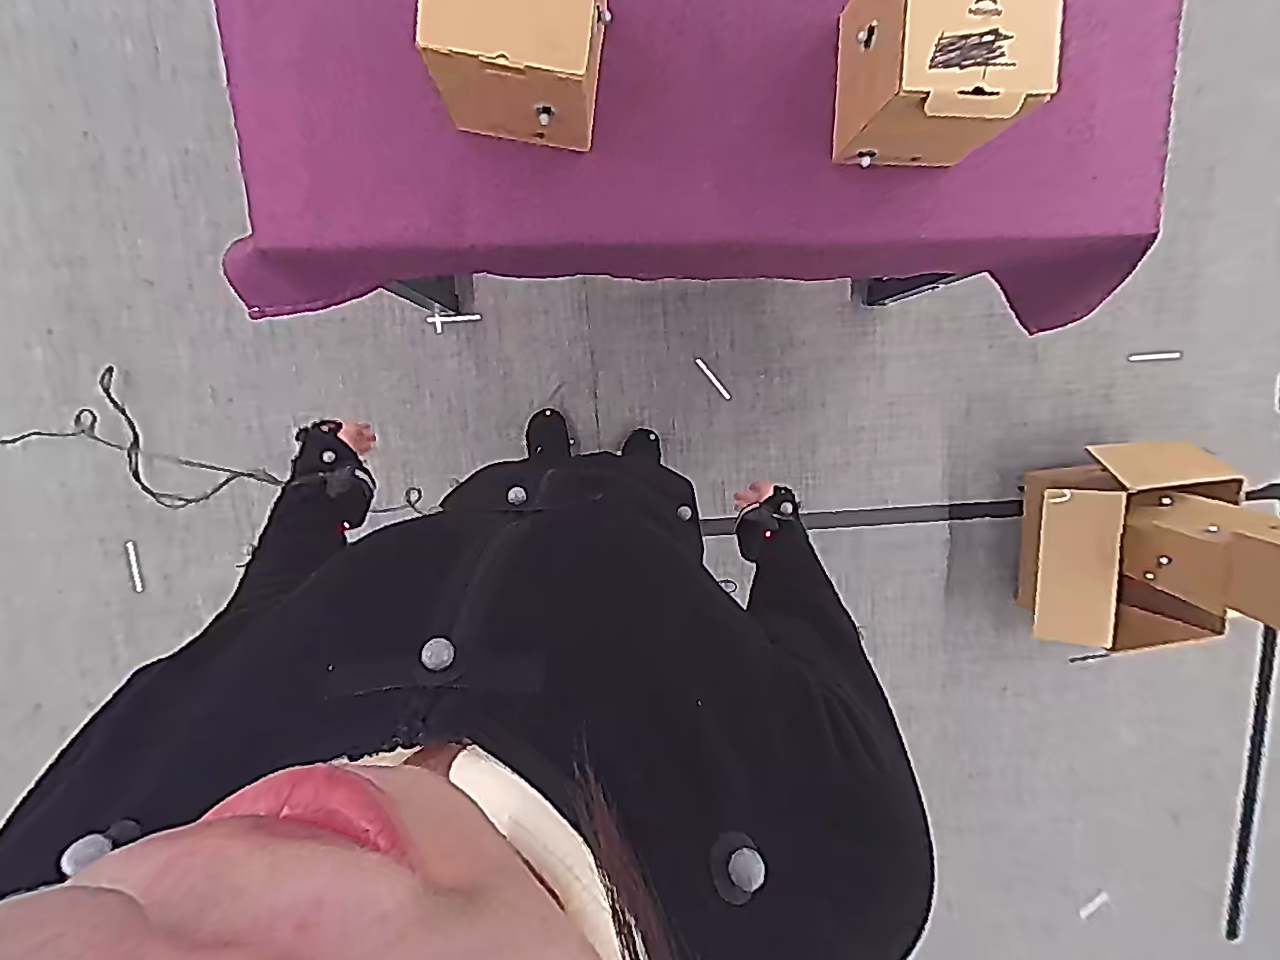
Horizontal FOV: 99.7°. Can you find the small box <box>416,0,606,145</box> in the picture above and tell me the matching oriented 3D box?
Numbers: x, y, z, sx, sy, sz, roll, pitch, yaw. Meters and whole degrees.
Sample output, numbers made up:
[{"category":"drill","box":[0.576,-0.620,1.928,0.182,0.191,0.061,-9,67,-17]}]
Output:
[{"category":"small box","box":[-0.128,-0.502,0.589,0.168,0.176,0.179,8,98,-6]}]

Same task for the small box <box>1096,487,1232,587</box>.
[{"category":"small box","box":[1.284,0.129,1.338,0.168,0.176,0.179,-24,103,4]}]

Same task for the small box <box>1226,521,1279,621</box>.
[{"category":"small box","box":[1.266,0.175,1.010,0.168,0.176,0.179,-10,103,2]}]

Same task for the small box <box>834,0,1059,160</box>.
[{"category":"small box","box":[0.336,-0.493,0.620,0.168,0.176,0.179,0,98,-4]}]
